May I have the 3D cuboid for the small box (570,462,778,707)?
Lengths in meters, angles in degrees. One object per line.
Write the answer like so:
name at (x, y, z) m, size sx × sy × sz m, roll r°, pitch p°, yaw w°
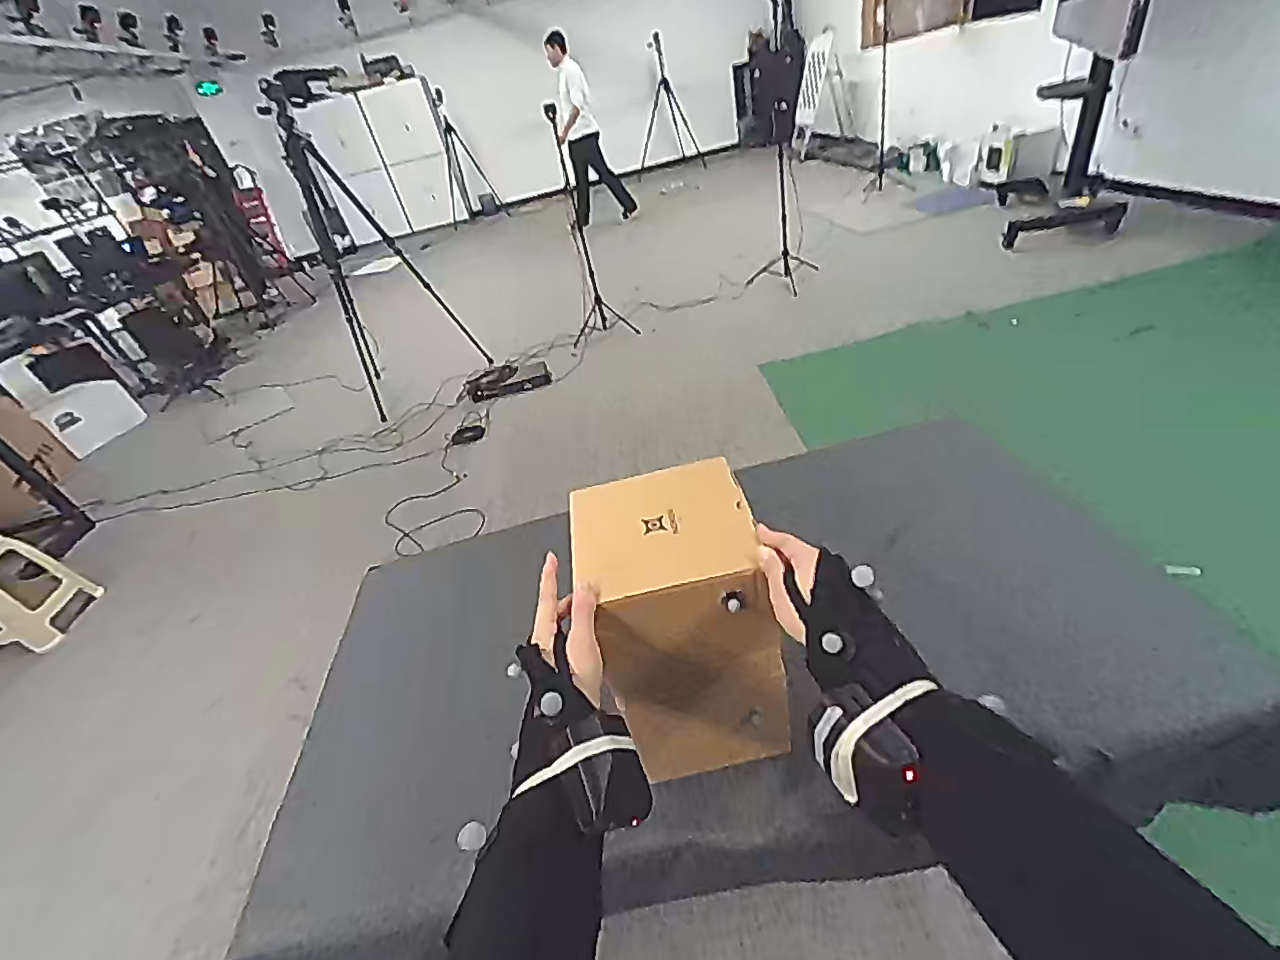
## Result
small box at (0.034, 0.109, 0.564) m, size 0.179 × 0.176 × 0.168 m, roll -13°, pitch 36°, yaw 0°
